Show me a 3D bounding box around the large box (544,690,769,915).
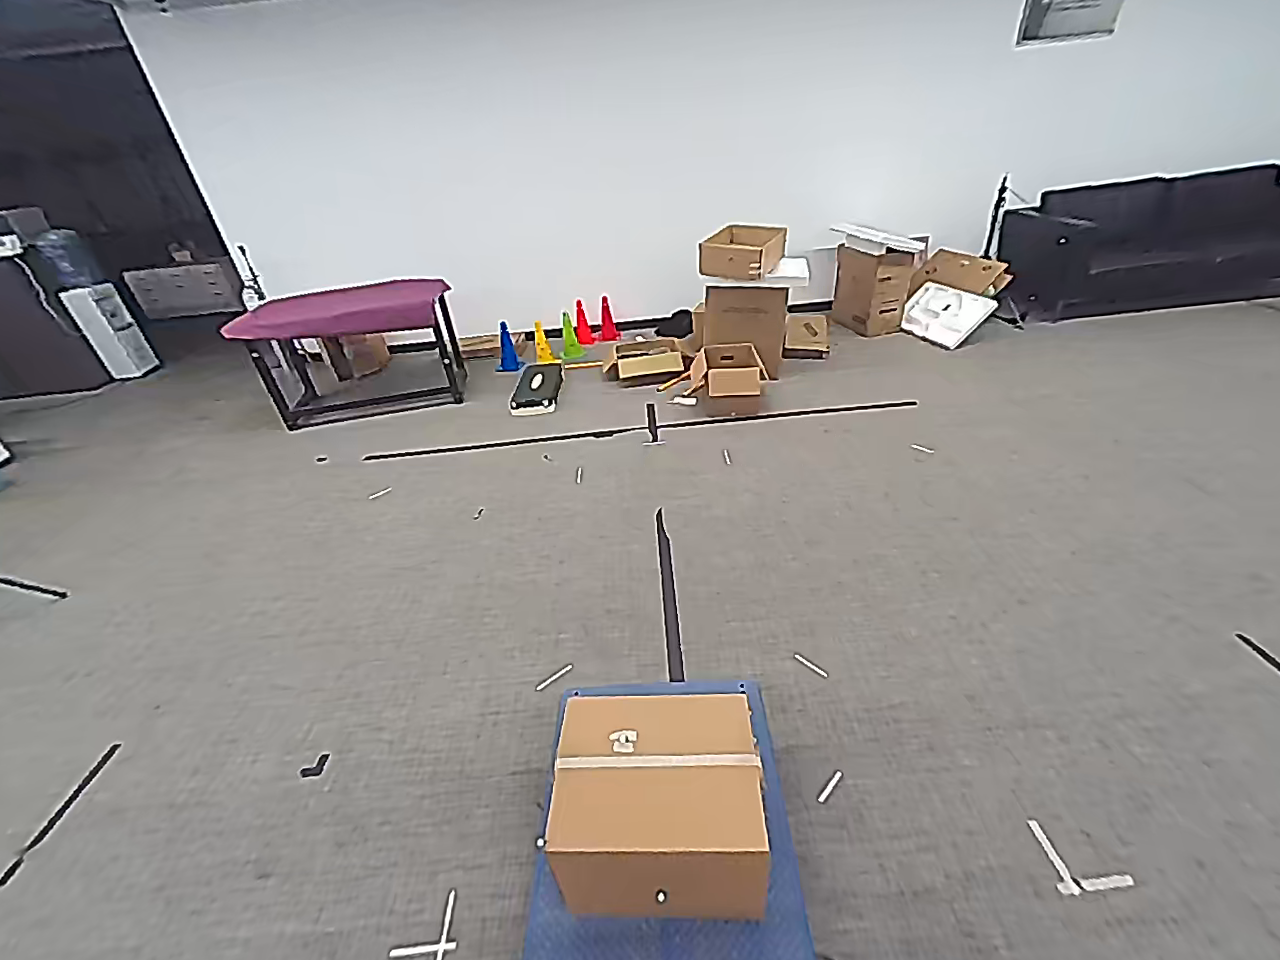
[{"bbox_3d":[0.045,0.683,1.150,0.408,0.320,0.320,-4,32,5],"label":"large box"}]
